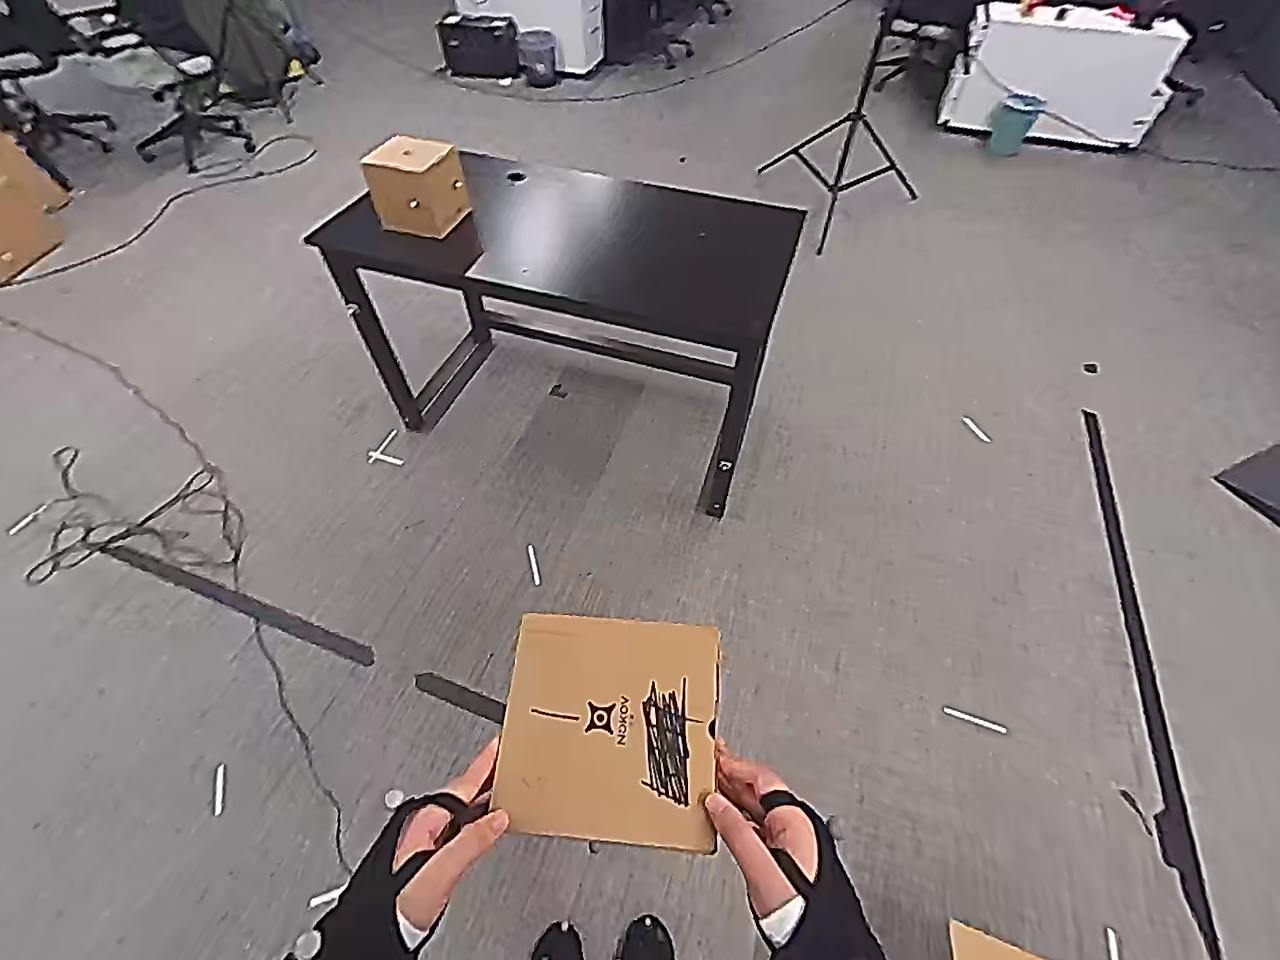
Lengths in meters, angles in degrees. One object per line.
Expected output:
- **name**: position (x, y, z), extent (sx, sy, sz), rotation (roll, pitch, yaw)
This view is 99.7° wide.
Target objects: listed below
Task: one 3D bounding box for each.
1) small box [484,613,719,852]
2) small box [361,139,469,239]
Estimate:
- **small box**: position (-0.023, 0.232, 0.511), extent (0.179, 0.176, 0.168), rotation (3, 62, 4)
- **small box**: position (-0.568, -0.745, 1.394), extent (0.179, 0.176, 0.168), rotation (13, 53, 10)
